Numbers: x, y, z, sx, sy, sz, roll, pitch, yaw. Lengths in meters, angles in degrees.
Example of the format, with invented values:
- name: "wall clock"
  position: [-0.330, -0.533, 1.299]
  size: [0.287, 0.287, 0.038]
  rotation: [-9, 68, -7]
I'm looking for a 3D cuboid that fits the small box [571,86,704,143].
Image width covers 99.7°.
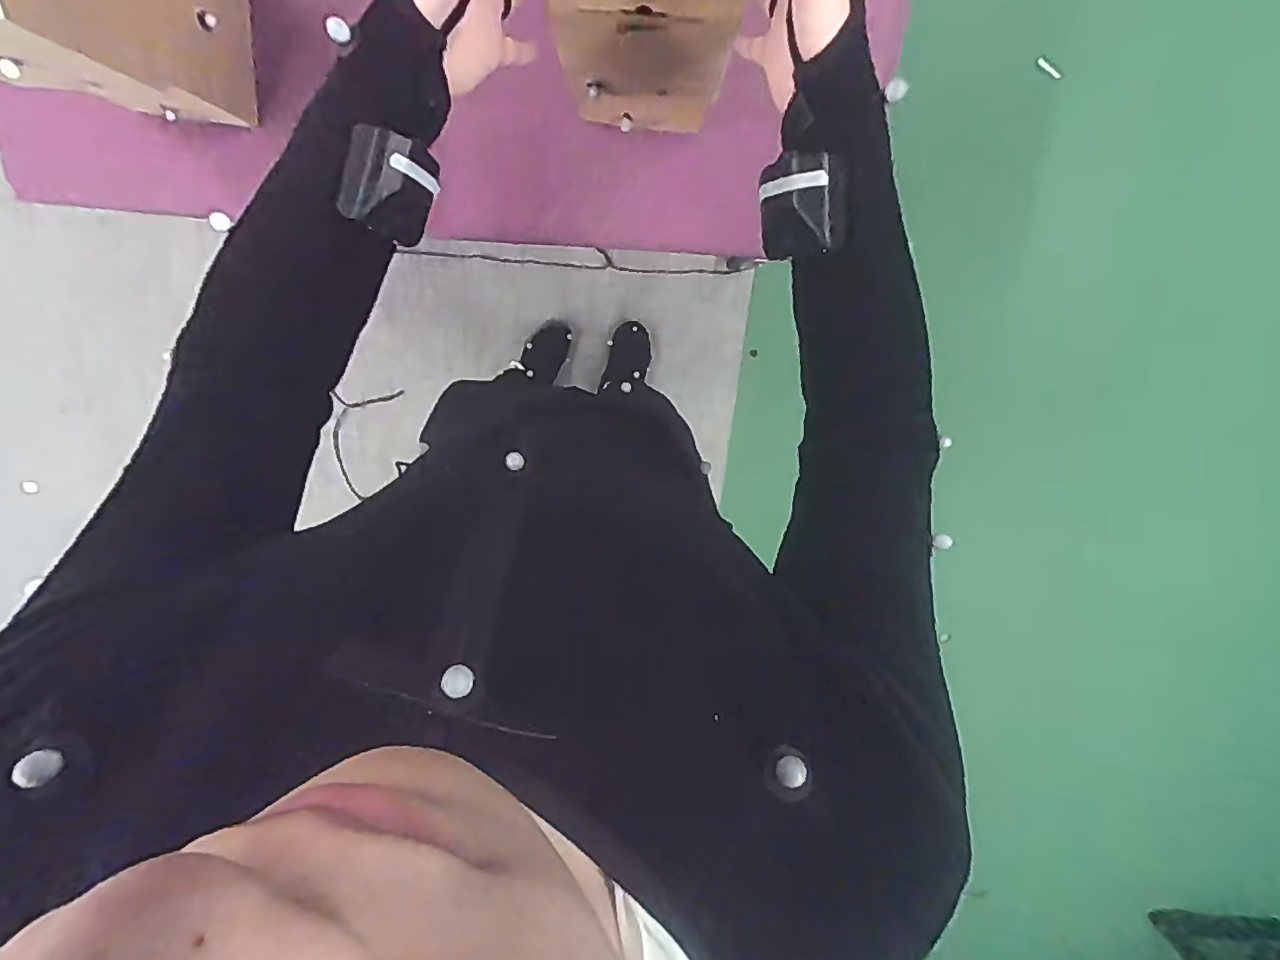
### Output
- name: "small box"
  position: [0.003, -0.545, 0.659]
  size: [0.168, 0.176, 0.179]
  rotation: [5, 106, -2]

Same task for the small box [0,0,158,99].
- name: "small box"
  position: [-0.592, -0.475, 0.488]
  size: [0.168, 0.176, 0.179]
  rotation: [3, 107, -3]

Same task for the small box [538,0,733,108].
- name: "small box"
  position: [0.003, -0.481, 0.507]
  size: [0.168, 0.176, 0.179]
  rotation: [4, 104, -1]

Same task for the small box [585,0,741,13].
- name: "small box"
  position: [0.006, -0.447, 0.348]
  size: [0.168, 0.176, 0.179]
  rotation: [2, 105, -1]
